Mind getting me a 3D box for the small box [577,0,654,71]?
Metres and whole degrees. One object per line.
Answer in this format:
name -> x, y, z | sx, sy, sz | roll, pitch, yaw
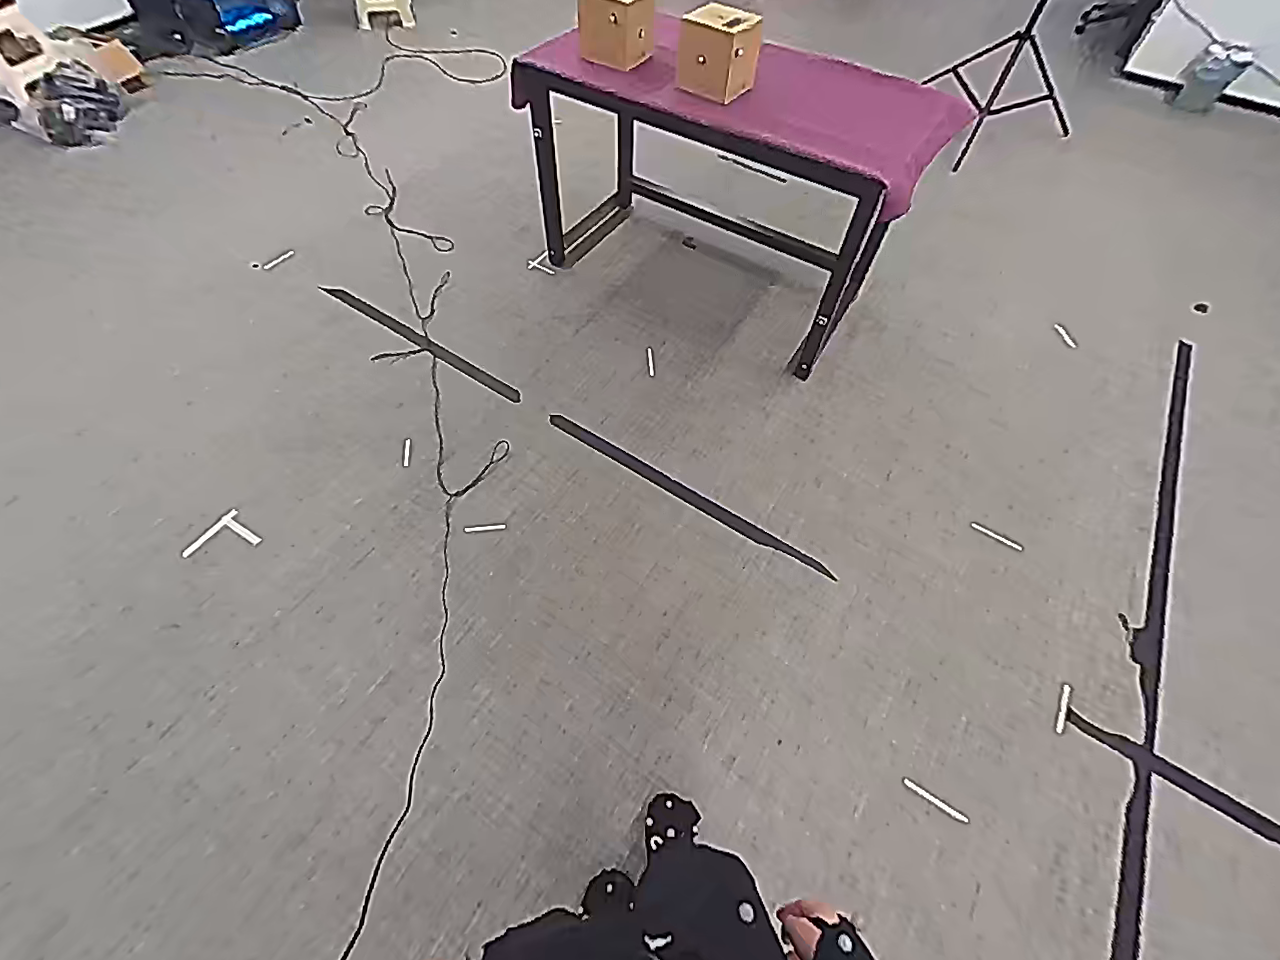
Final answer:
small box -> -0.071, -1.371, 1.635 | 0.179, 0.176, 0.168 | 27, 59, 14
